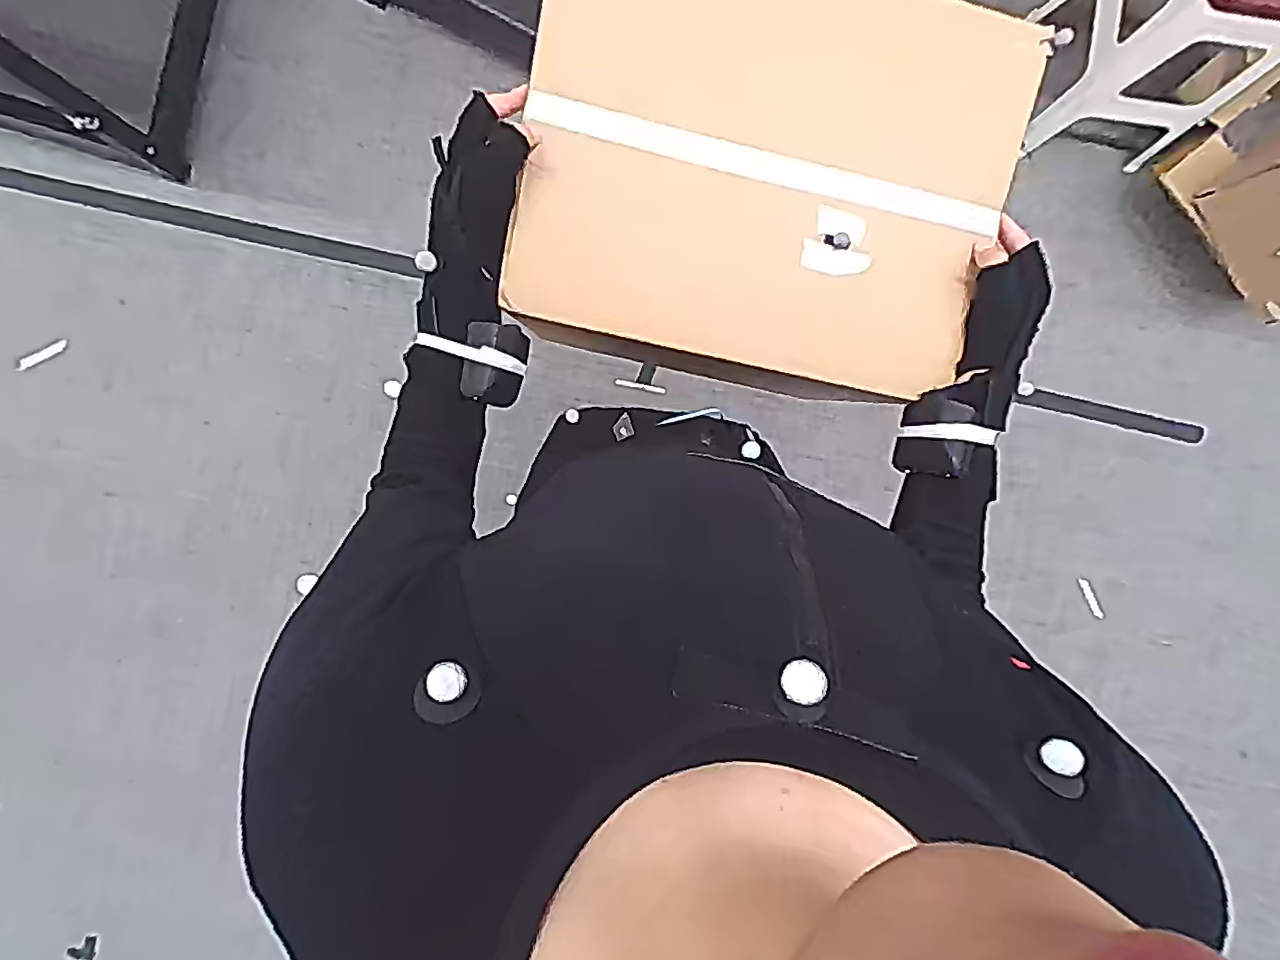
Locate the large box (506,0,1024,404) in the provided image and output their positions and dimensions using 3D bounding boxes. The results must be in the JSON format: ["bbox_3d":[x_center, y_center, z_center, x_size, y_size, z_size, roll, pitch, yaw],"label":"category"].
[{"bbox_3d":[0.092,-0.277,0.604,0.408,0.320,0.320,11,100,-7],"label":"large box"}]
